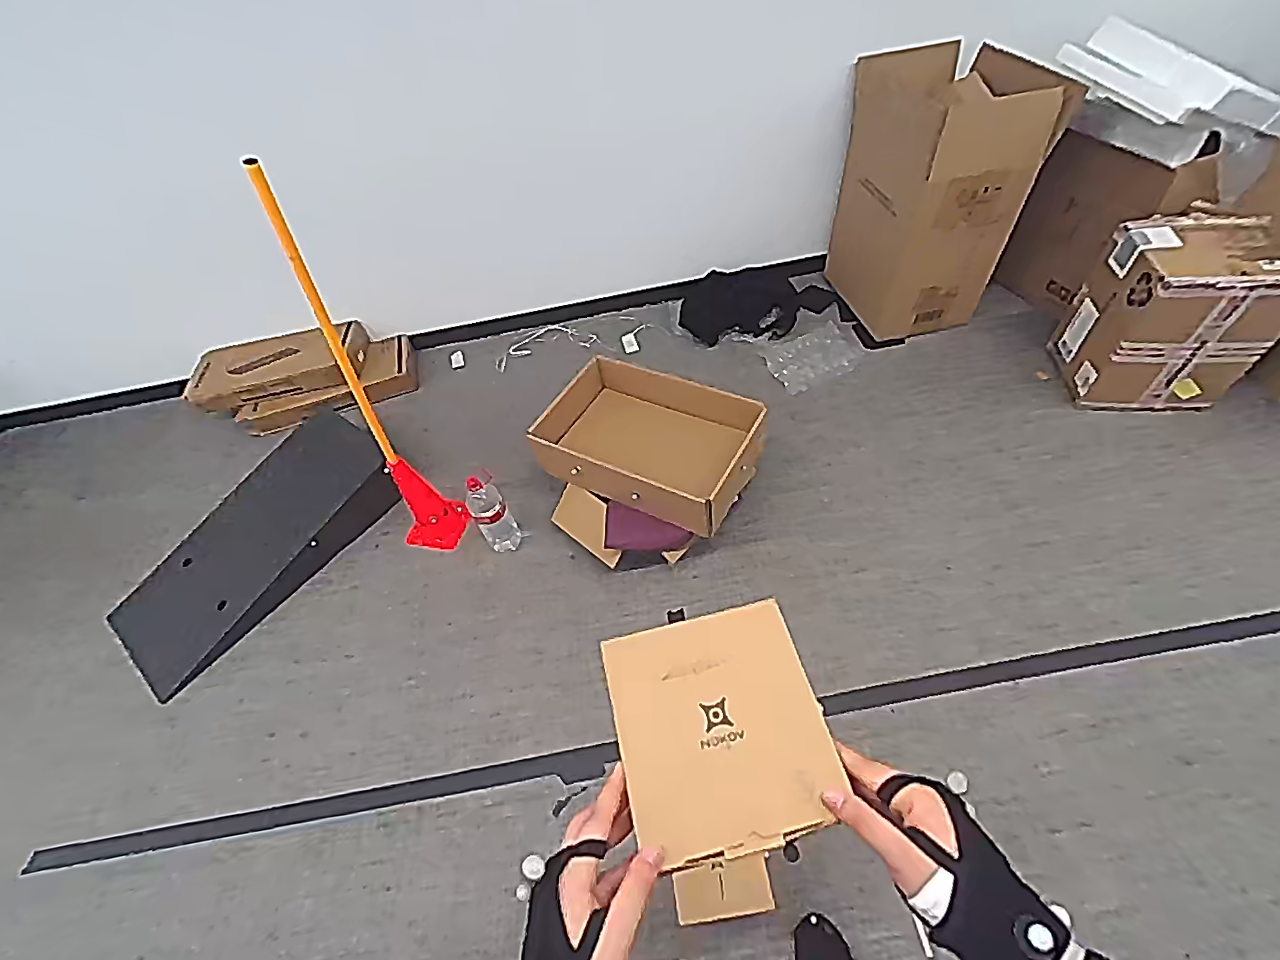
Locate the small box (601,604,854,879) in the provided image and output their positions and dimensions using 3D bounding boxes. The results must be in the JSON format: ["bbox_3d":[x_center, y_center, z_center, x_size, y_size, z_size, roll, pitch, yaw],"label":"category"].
[{"bbox_3d":[0.067,0.244,0.502,0.168,0.176,0.179,-13,53,-5],"label":"small box"}]

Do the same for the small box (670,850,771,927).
[{"bbox_3d":[0.138,0.716,1.014,0.168,0.176,0.179,-10,52,1],"label":"small box"}]
